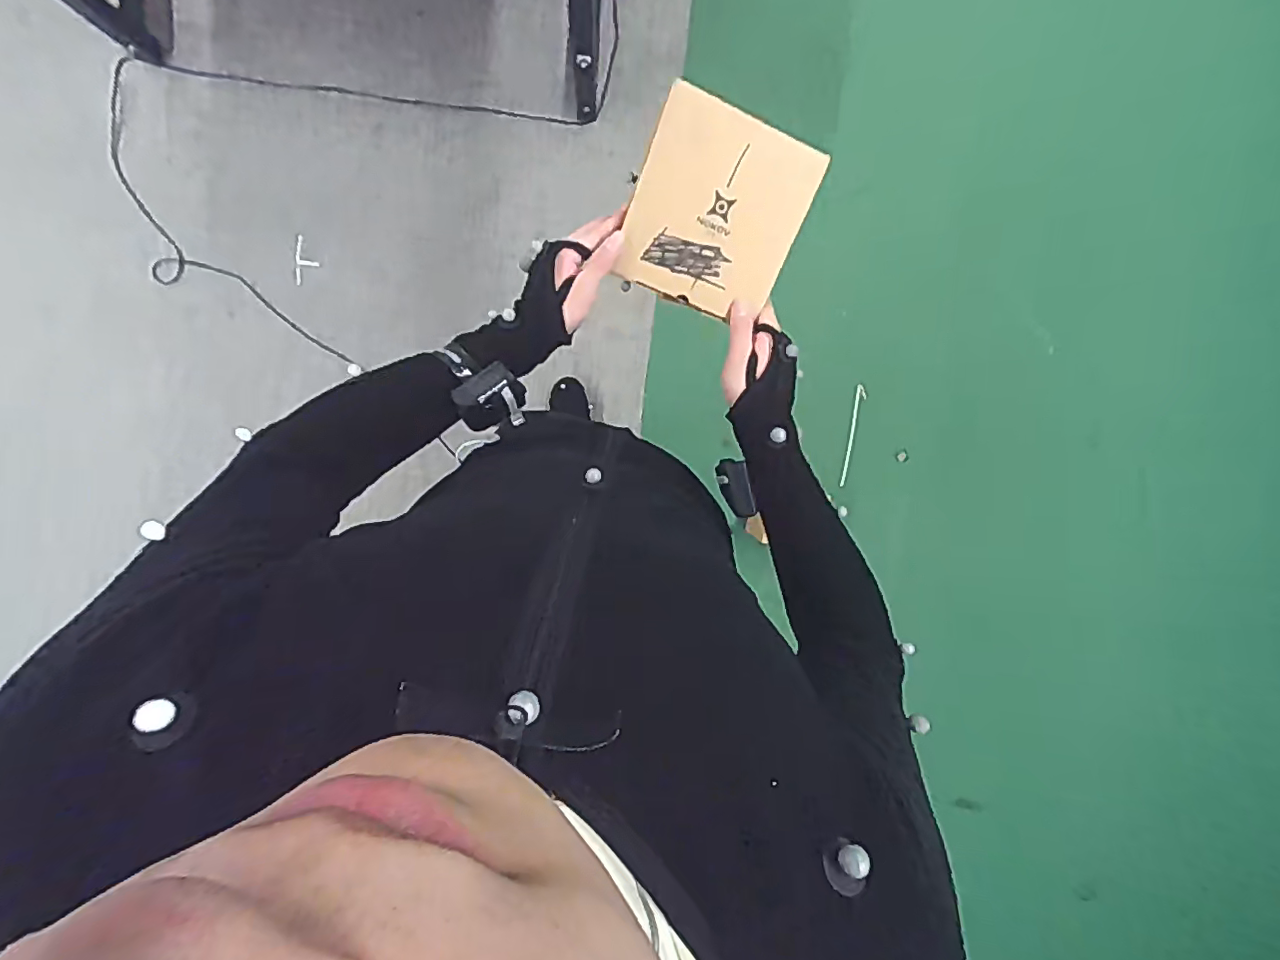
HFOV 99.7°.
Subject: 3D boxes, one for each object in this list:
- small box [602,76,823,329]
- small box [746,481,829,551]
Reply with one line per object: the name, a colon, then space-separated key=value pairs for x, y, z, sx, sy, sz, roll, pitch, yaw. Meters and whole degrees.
small box: x=0.063 y=-0.287 z=0.595 sx=0.168 sy=0.176 sz=0.179 roll=18 pitch=108 yaw=-13
small box: x=0.432 y=0.102 z=1.607 sx=0.179 sy=0.176 sz=0.168 roll=7 pitch=97 yaw=-5
